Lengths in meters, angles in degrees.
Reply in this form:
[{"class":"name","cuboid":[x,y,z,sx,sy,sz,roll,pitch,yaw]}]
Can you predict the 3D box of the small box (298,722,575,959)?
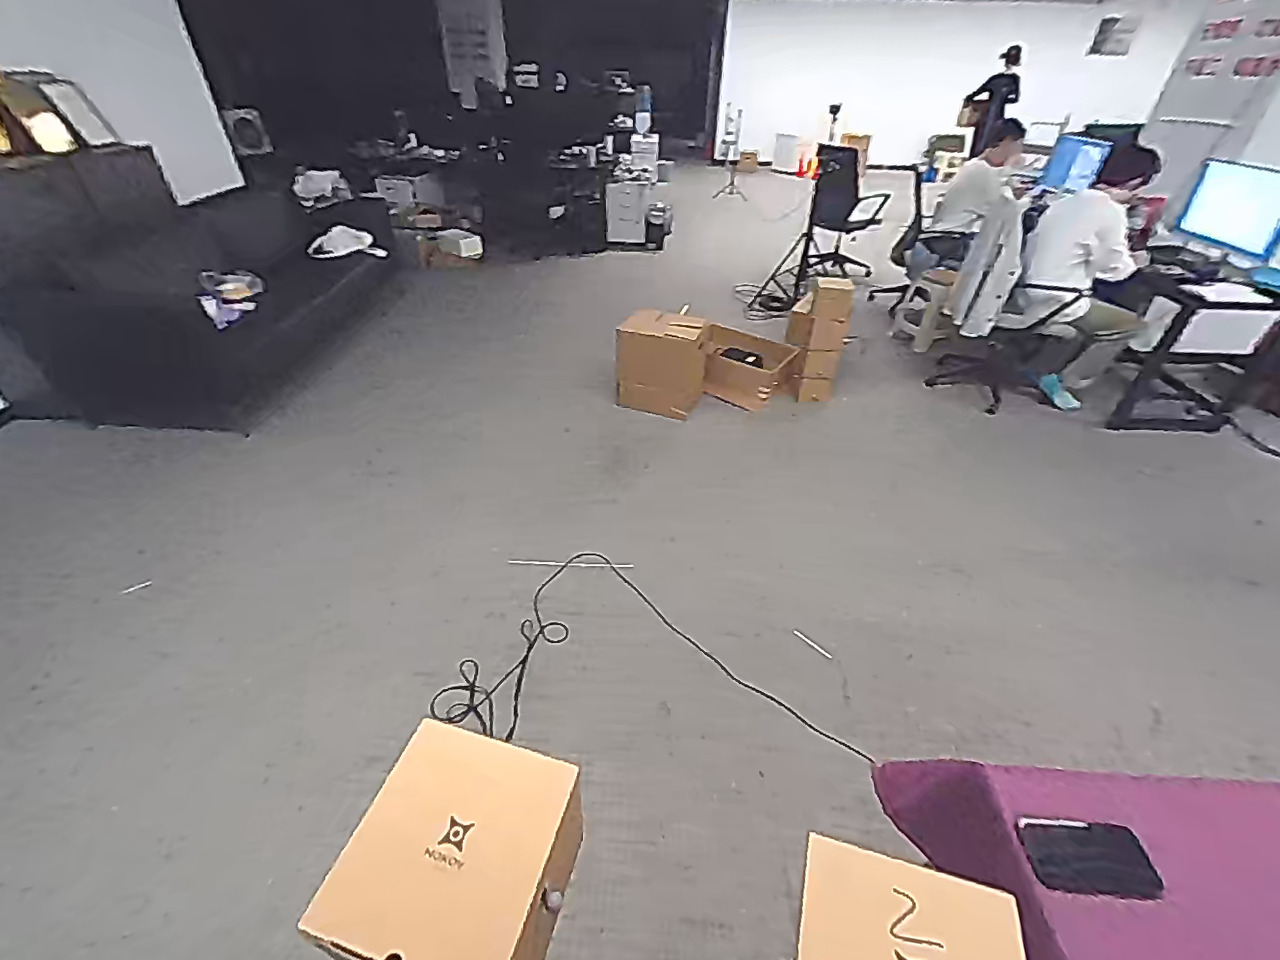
[{"class":"small box","cuboid":[-0.168,0.371,0.512,0.168,0.176,0.179,12,41,10]}]
